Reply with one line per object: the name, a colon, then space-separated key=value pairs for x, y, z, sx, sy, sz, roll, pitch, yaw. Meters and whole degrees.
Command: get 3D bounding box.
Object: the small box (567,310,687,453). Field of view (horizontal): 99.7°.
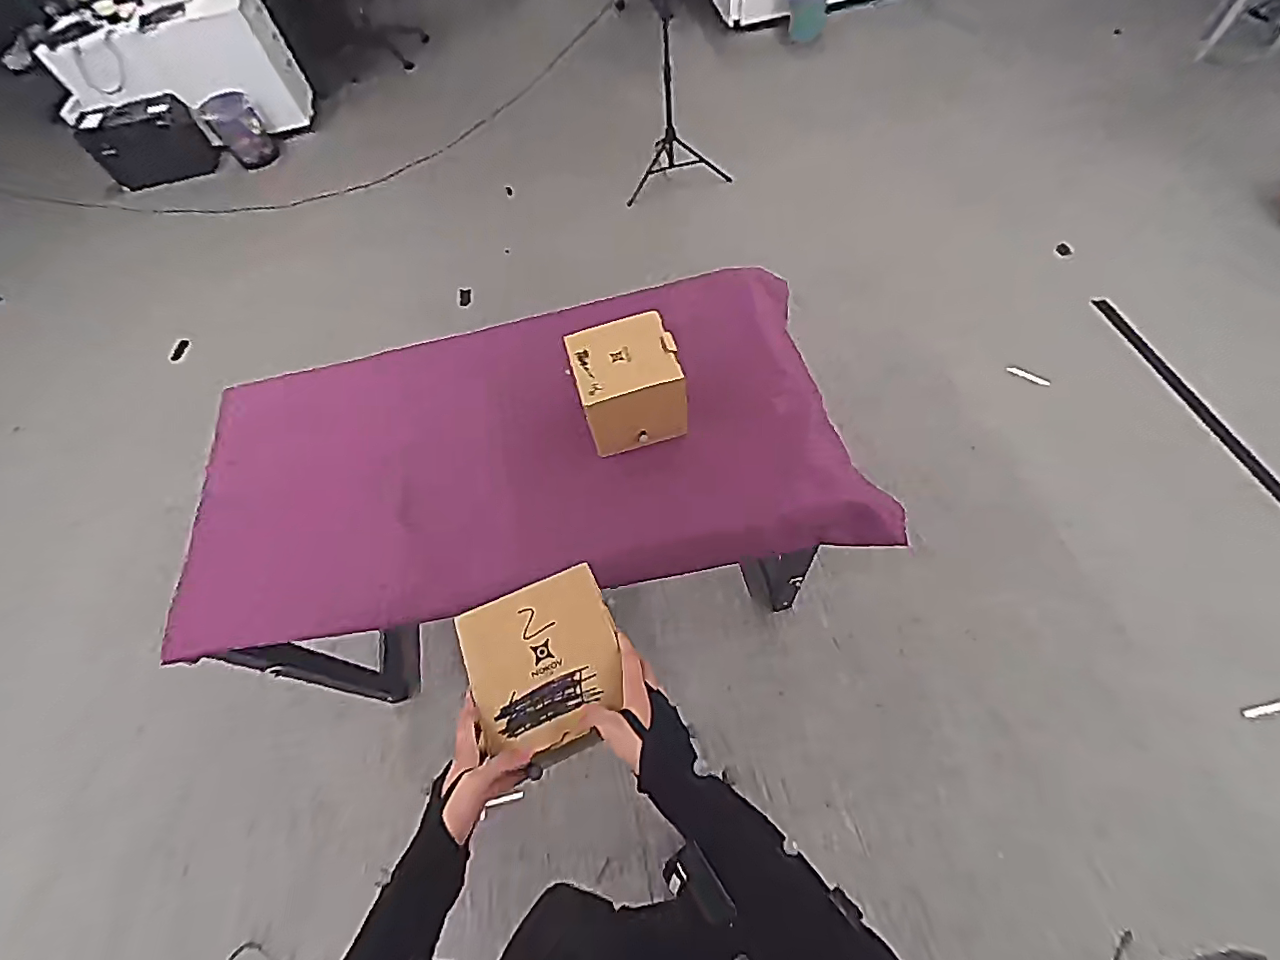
small box: x=-0.020 y=-0.174 z=0.984 sx=0.179 sy=0.176 sz=0.168 roll=-16 pitch=60 yaw=-3
